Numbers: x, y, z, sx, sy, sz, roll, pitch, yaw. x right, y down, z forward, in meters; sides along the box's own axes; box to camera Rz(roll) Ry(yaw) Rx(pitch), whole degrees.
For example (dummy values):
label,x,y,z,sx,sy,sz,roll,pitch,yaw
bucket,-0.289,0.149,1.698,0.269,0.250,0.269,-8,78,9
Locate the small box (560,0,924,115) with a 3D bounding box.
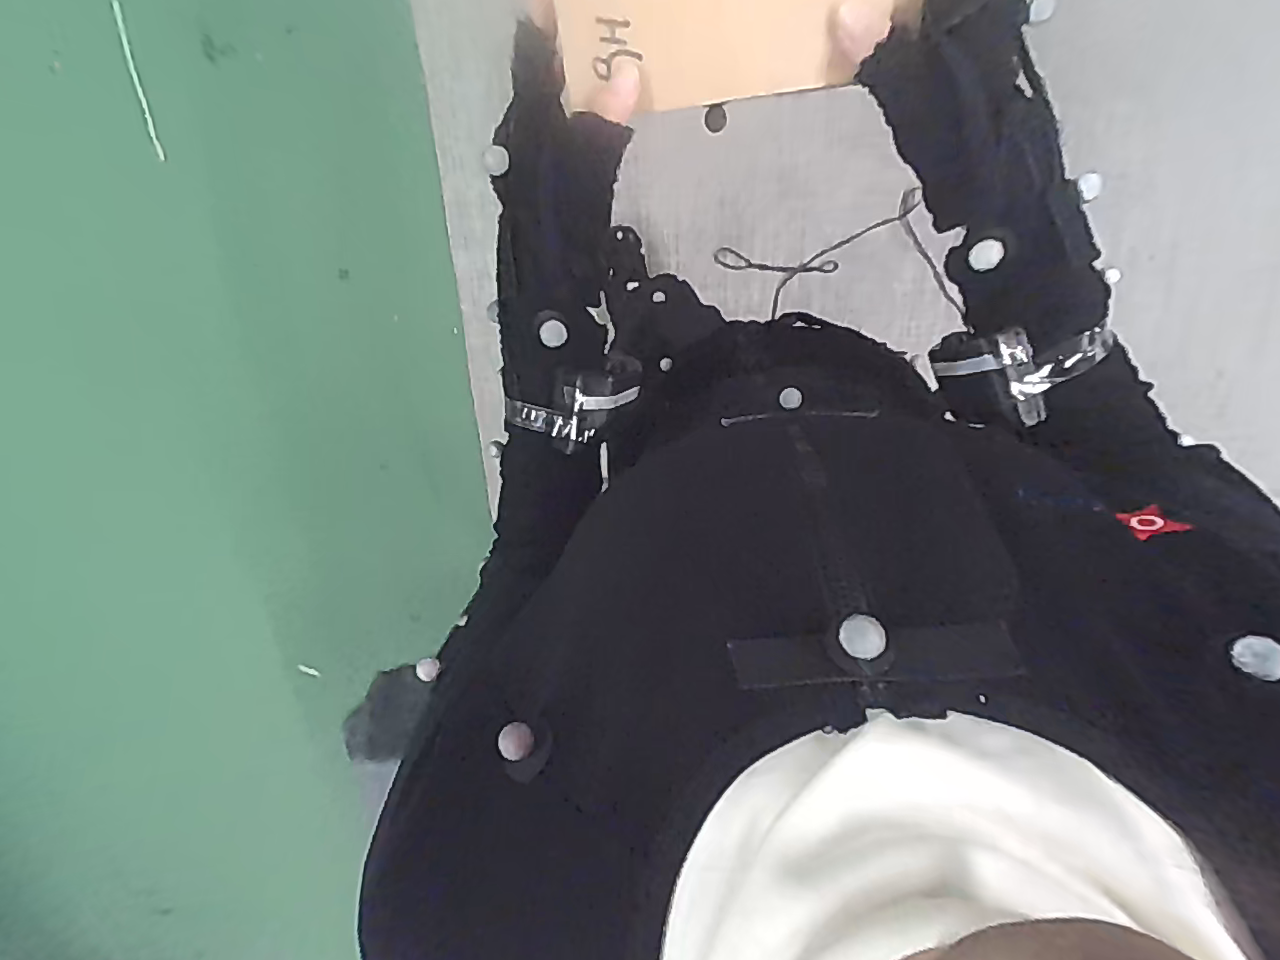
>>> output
label,x,y,z,sx,sy,sz,roll,pitch,yaw
small box,0.043,-0.309,0.297,0.179,0.176,0.168,-5,123,3
